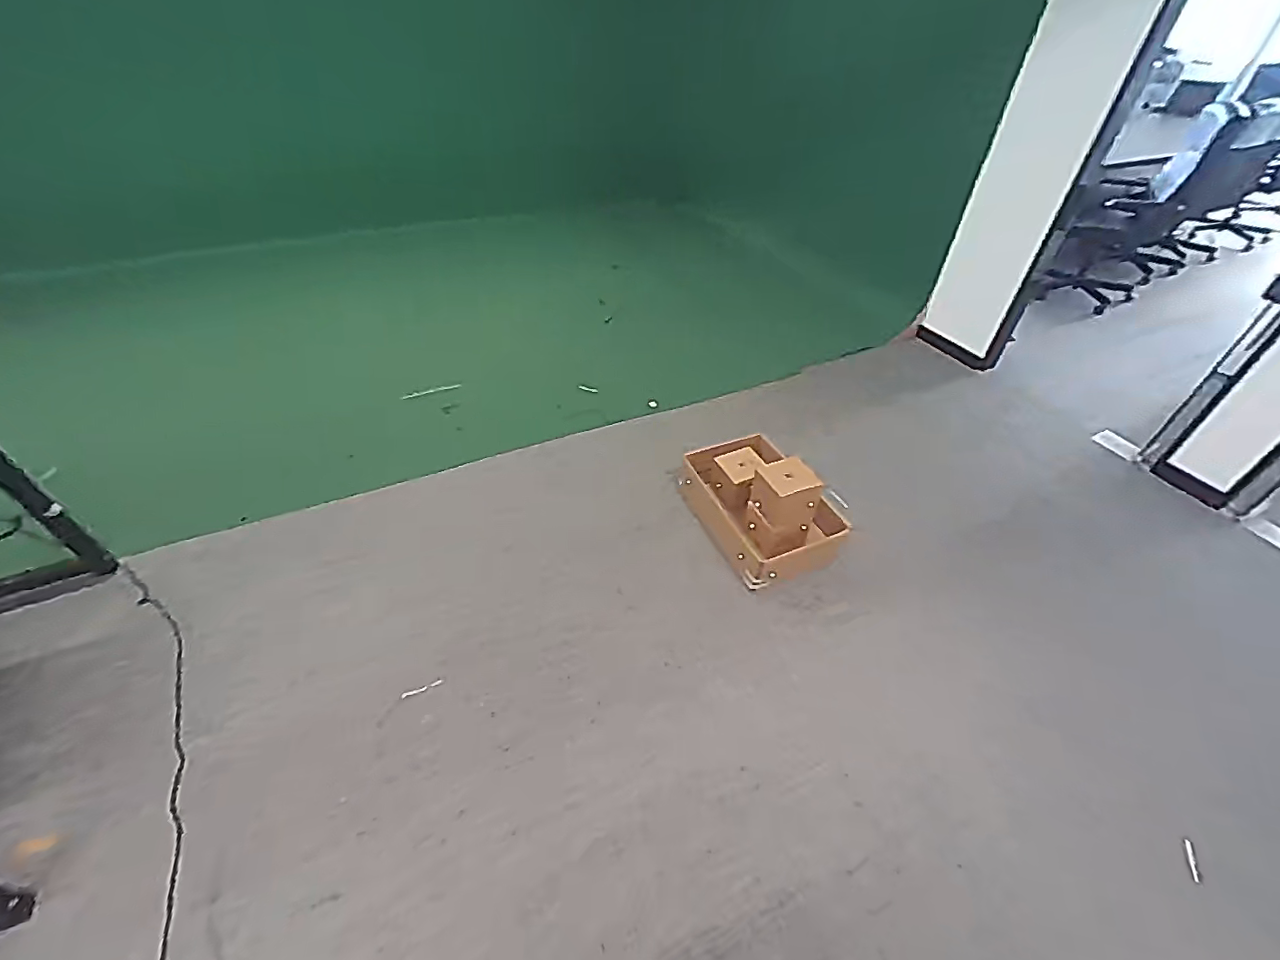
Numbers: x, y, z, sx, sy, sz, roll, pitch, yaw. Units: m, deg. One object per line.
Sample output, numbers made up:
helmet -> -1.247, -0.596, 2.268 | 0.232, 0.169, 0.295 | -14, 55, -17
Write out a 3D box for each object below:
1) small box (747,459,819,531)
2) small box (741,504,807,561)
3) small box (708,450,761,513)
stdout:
small box -> 0.501, 0.055, 1.925 | 0.179, 0.176, 0.168 | -15, 44, -17
small box -> 0.495, 0.178, 2.034 | 0.179, 0.176, 0.168 | -16, 46, -19
small box -> 0.390, 0.010, 2.204 | 0.179, 0.176, 0.168 | -17, 47, -18
